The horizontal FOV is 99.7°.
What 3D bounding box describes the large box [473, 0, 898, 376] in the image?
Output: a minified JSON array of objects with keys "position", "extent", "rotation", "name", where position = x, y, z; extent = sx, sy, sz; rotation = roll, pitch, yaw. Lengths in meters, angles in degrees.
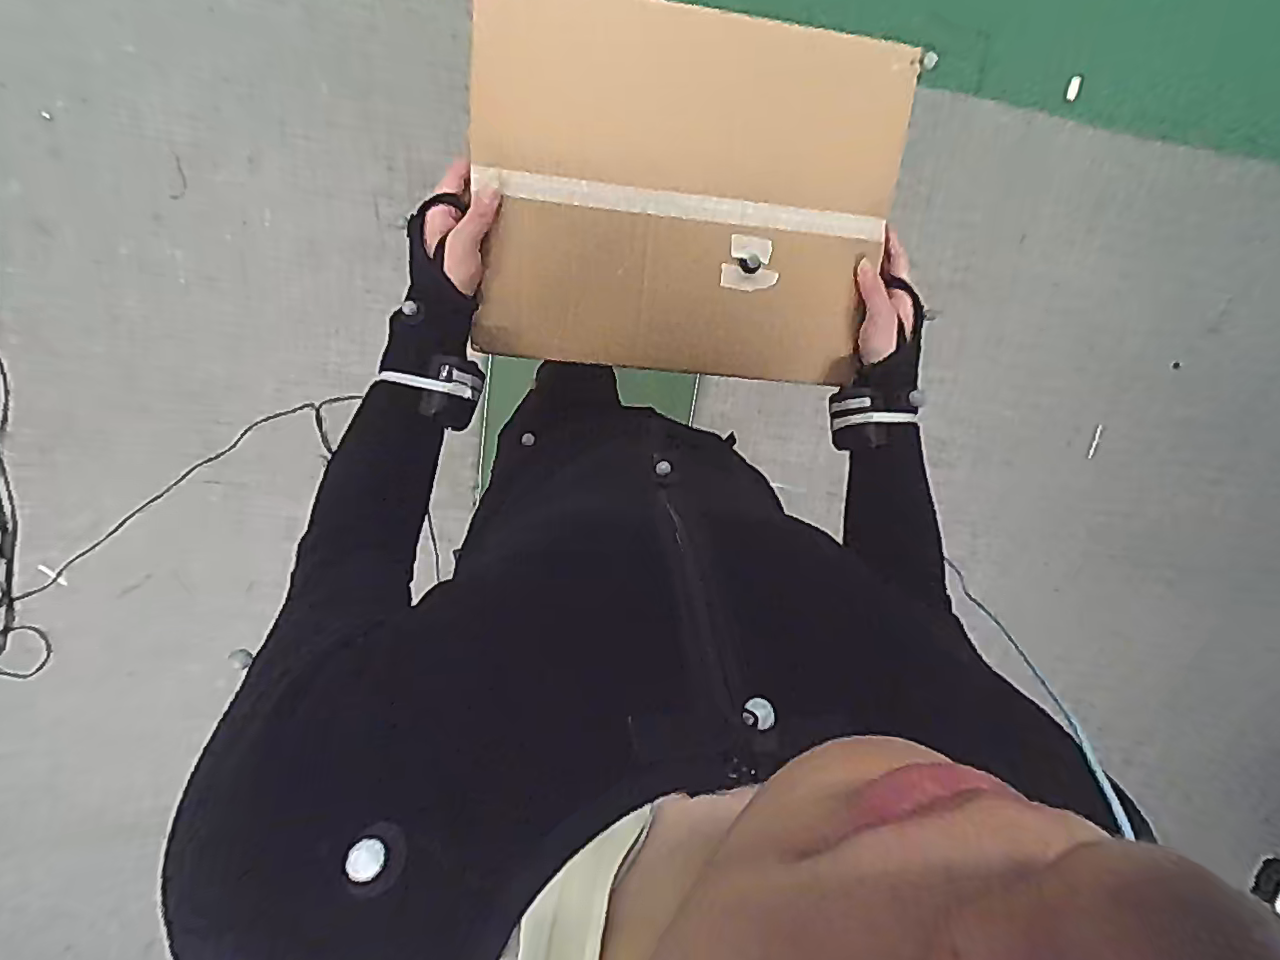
[{"position":[0.022,-0.312,0.674],"extent":[0.408,0.320,0.320],"rotation":[3,108,-8],"name":"large box"}]
